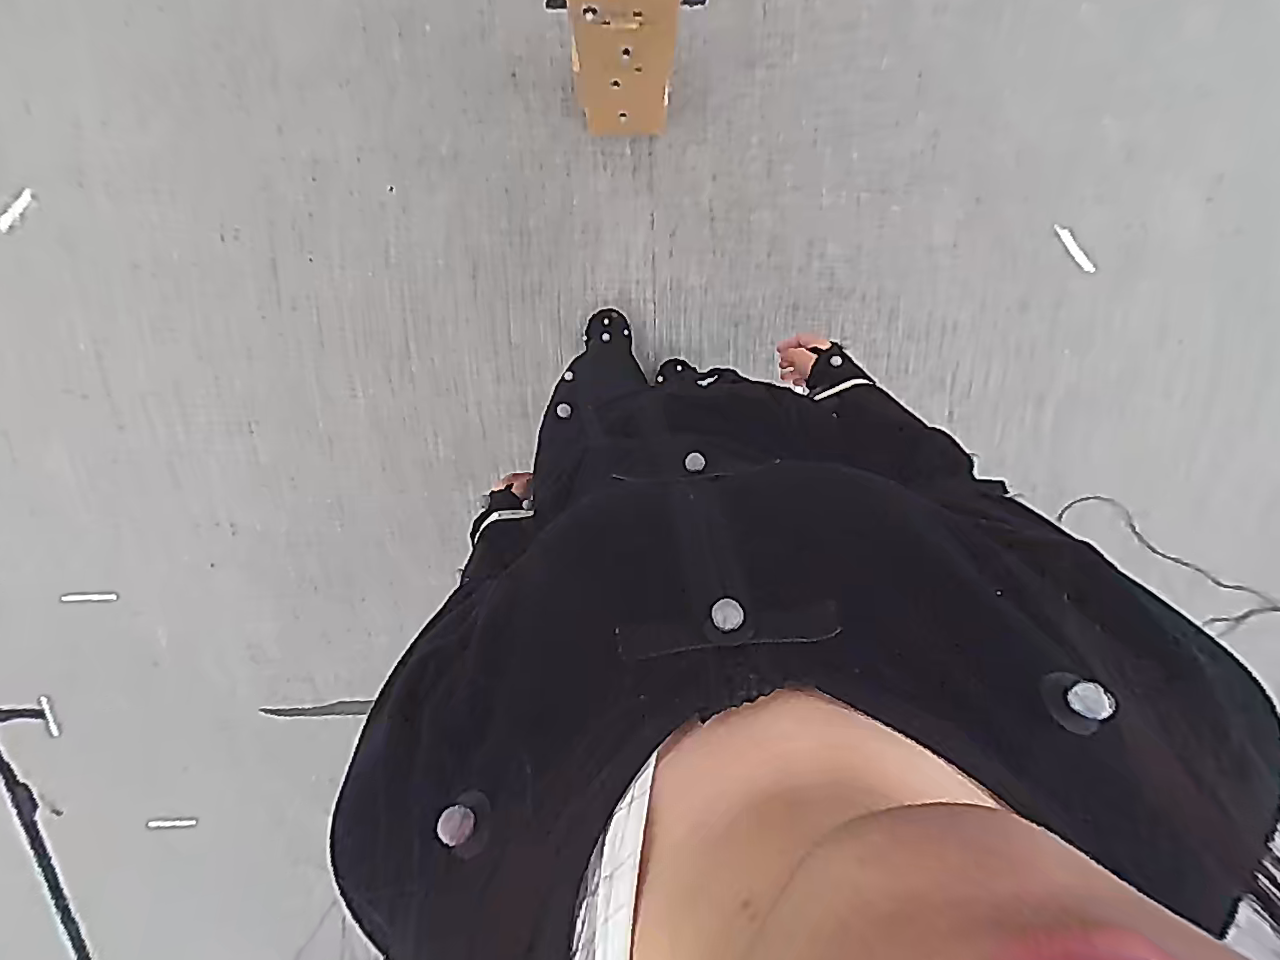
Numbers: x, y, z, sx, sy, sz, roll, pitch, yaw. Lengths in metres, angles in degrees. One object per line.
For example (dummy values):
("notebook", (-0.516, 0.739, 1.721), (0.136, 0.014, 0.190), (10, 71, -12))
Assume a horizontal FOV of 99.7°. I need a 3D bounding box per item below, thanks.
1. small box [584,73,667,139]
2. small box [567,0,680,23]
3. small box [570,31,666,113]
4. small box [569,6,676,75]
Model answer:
("small box", (-0.034, -0.872, 1.190), (0.179, 0.176, 0.168), (-2, 105, -1))
("small box", (-0.024, -0.748, 0.715), (0.168, 0.176, 0.179), (-1, 104, -1))
("small box", (-0.037, -0.827, 1.032), (0.179, 0.176, 0.168), (1, 106, -1))
("small box", (-0.024, -0.788, 0.874), (0.168, 0.176, 0.179), (0, 106, -1))
